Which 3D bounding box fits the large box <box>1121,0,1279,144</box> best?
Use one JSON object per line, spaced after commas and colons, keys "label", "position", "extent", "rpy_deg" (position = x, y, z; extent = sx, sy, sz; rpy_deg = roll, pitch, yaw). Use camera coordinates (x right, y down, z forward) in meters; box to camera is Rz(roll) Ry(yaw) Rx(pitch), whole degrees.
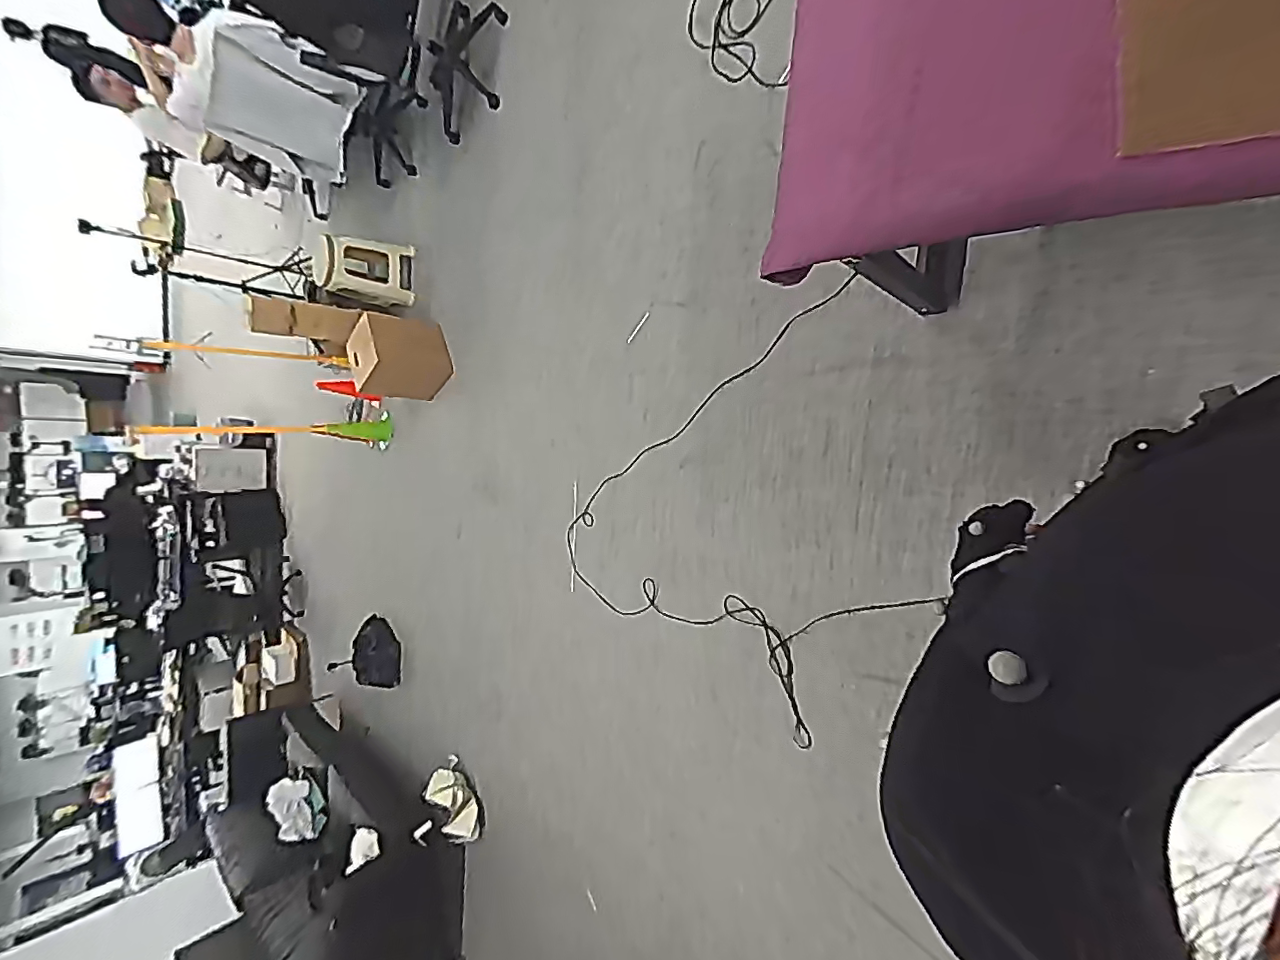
{"label": "large box", "position": [0.558, -0.526, 0.353], "extent": [0.320, 0.320, 0.408], "rpy_deg": [13, 101, 41]}
